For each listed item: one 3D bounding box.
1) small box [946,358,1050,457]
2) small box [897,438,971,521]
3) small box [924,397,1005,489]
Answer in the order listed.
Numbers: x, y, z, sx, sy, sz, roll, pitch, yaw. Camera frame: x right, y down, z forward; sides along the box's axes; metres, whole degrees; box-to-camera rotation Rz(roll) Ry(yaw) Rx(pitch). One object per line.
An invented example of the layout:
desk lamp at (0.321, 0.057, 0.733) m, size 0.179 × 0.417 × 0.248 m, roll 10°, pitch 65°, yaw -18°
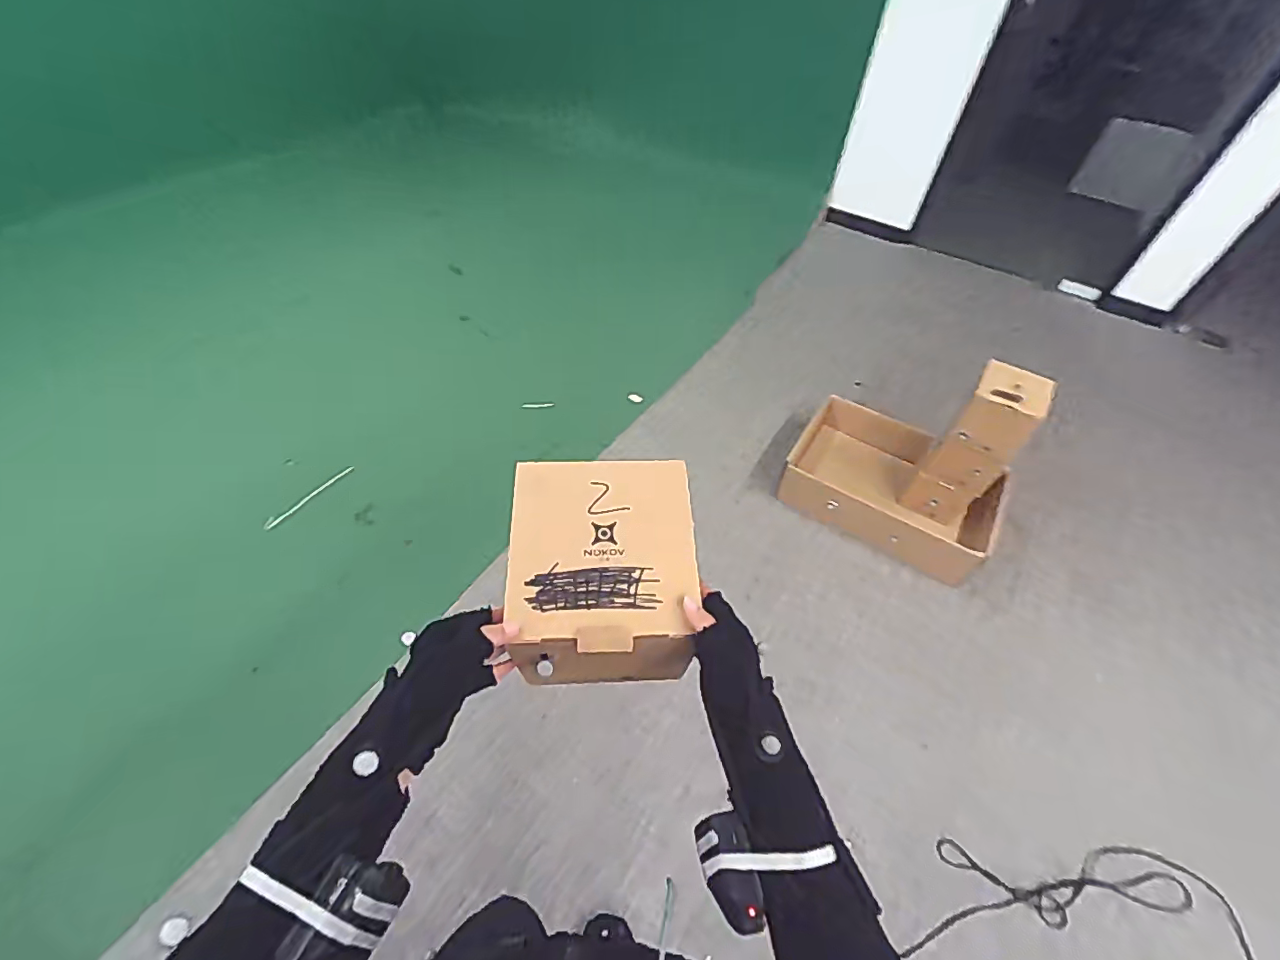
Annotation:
small box at (0.963, -0.193, 1.468) m, size 0.168 × 0.176 × 0.179 m, roll 29°, pitch 56°, yaw 19°
small box at (0.947, 0.002, 1.733) m, size 0.168 × 0.176 × 0.179 m, roll 23°, pitch 54°, yaw 17°
small box at (0.964, -0.106, 1.587) m, size 0.168 × 0.176 × 0.179 m, roll 28°, pitch 56°, yaw 19°
